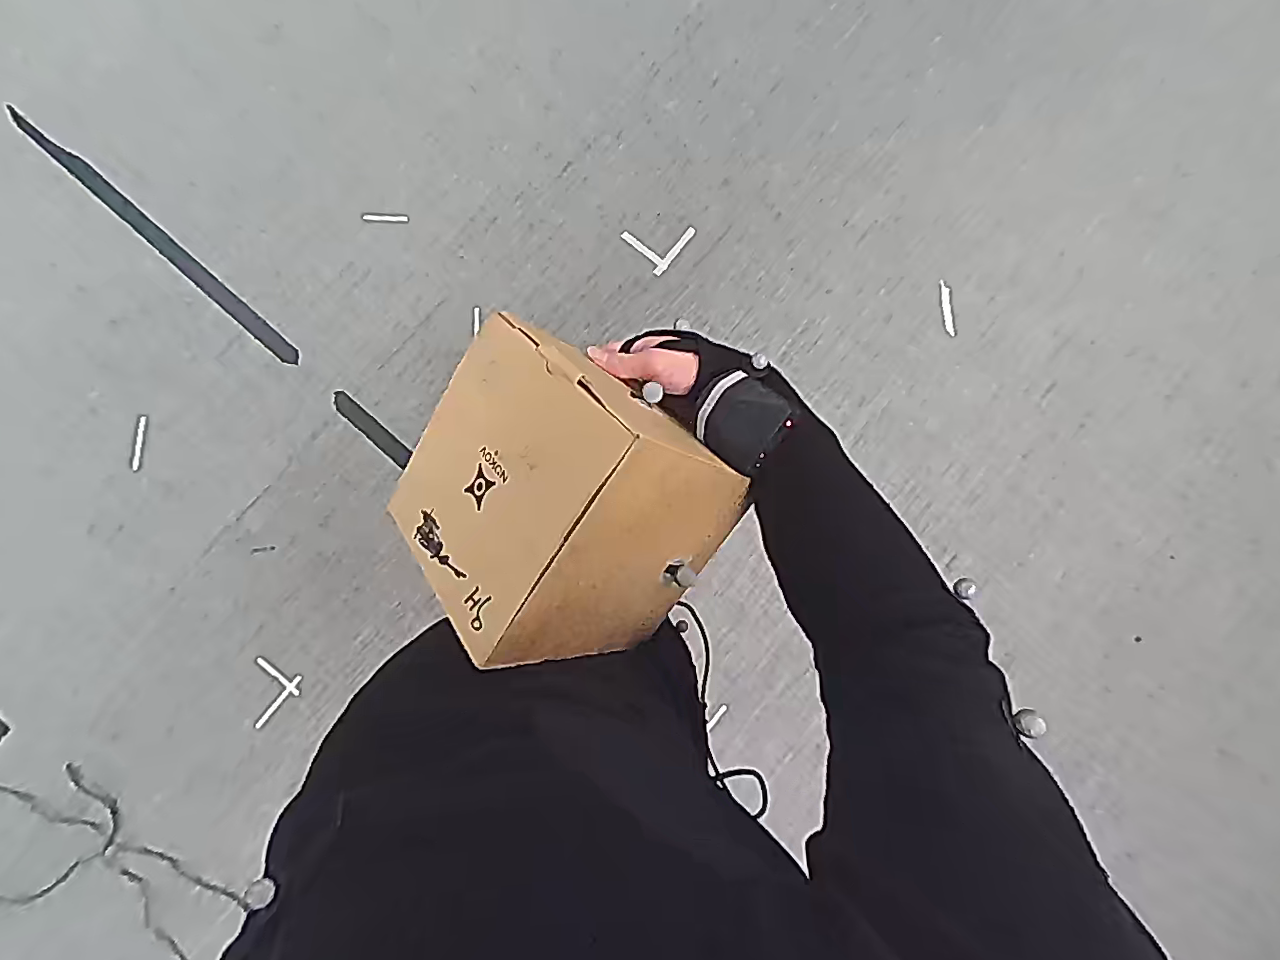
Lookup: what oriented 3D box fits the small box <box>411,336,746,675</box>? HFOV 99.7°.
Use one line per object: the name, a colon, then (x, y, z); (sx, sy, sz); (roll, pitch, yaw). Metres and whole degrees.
small box: (-0.040, 0.023, 0.429); (0.168, 0.176, 0.179); (44, 107, 35)
